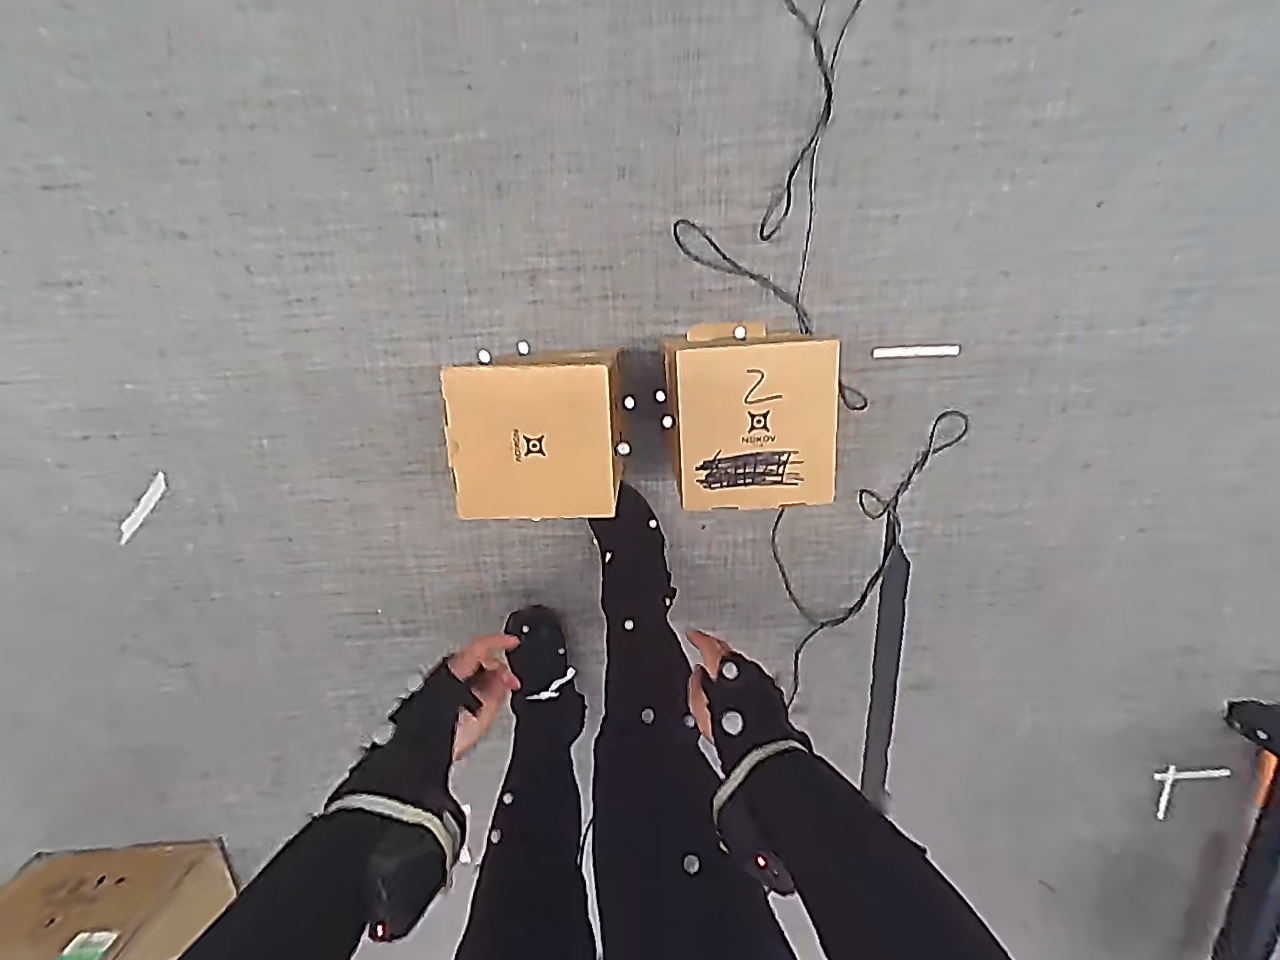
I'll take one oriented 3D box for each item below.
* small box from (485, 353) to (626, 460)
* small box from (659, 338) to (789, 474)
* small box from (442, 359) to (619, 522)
[{"bbox_3d":[-0.115,-0.101,0.807,0.179,0.176,0.168,-2,106,2],"label":"small box"},{"bbox_3d":[0.116,-0.118,0.803,0.168,0.176,0.179,-4,107,1],"label":"small box"},{"bbox_3d":[-0.115,-0.056,0.652,0.179,0.176,0.168,-1,106,2],"label":"small box"}]
